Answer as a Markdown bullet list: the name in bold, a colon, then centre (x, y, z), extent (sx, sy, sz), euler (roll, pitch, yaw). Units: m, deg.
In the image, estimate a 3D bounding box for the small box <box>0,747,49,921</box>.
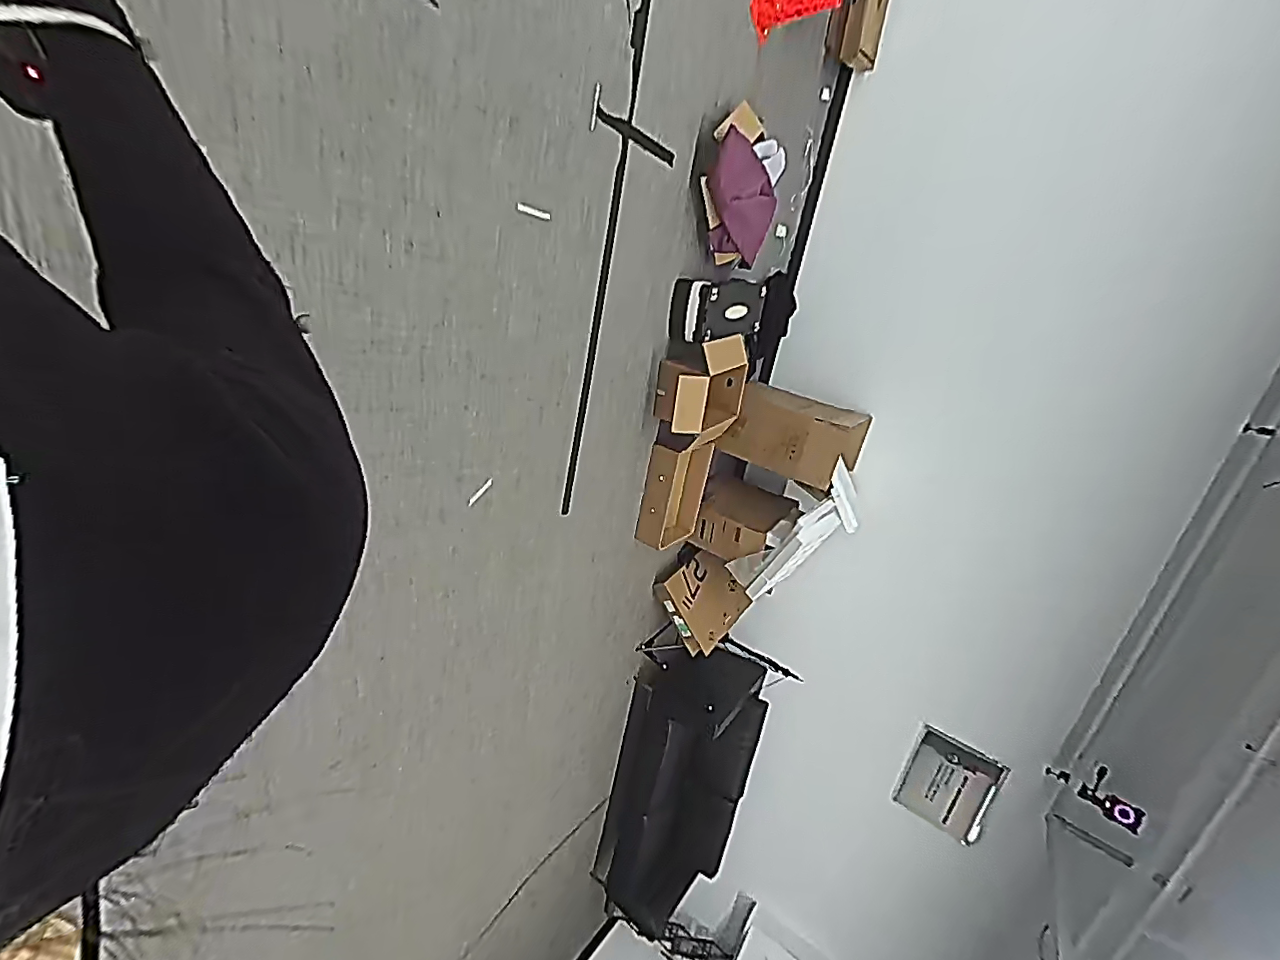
- **small box**: centre (-0.932, 0.495, 0.715), extent (0.168, 0.176, 0.179), euler (-16, 120, -56)
